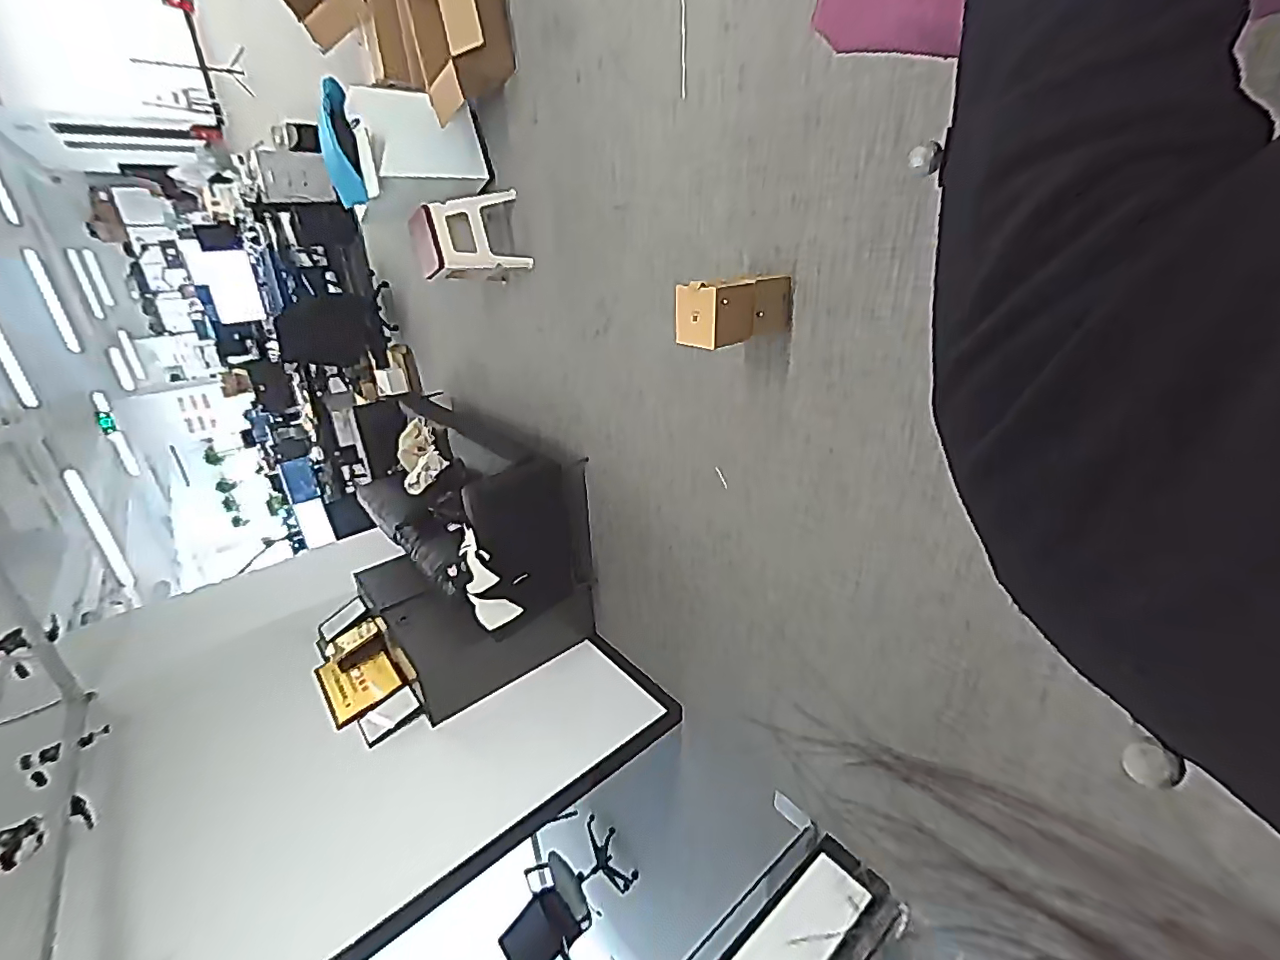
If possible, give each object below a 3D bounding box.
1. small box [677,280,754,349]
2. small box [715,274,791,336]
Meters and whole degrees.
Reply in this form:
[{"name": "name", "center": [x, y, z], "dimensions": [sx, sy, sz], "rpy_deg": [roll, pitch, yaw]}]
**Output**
[{"name": "small box", "center": [0.230, -0.508, 1.645], "dimensions": [0.168, 0.176, 0.179], "rpy_deg": [25, 126, 45]}, {"name": "small box", "center": [0.357, -0.565, 1.731], "dimensions": [0.179, 0.176, 0.168], "rpy_deg": [26, 127, 46]}]
